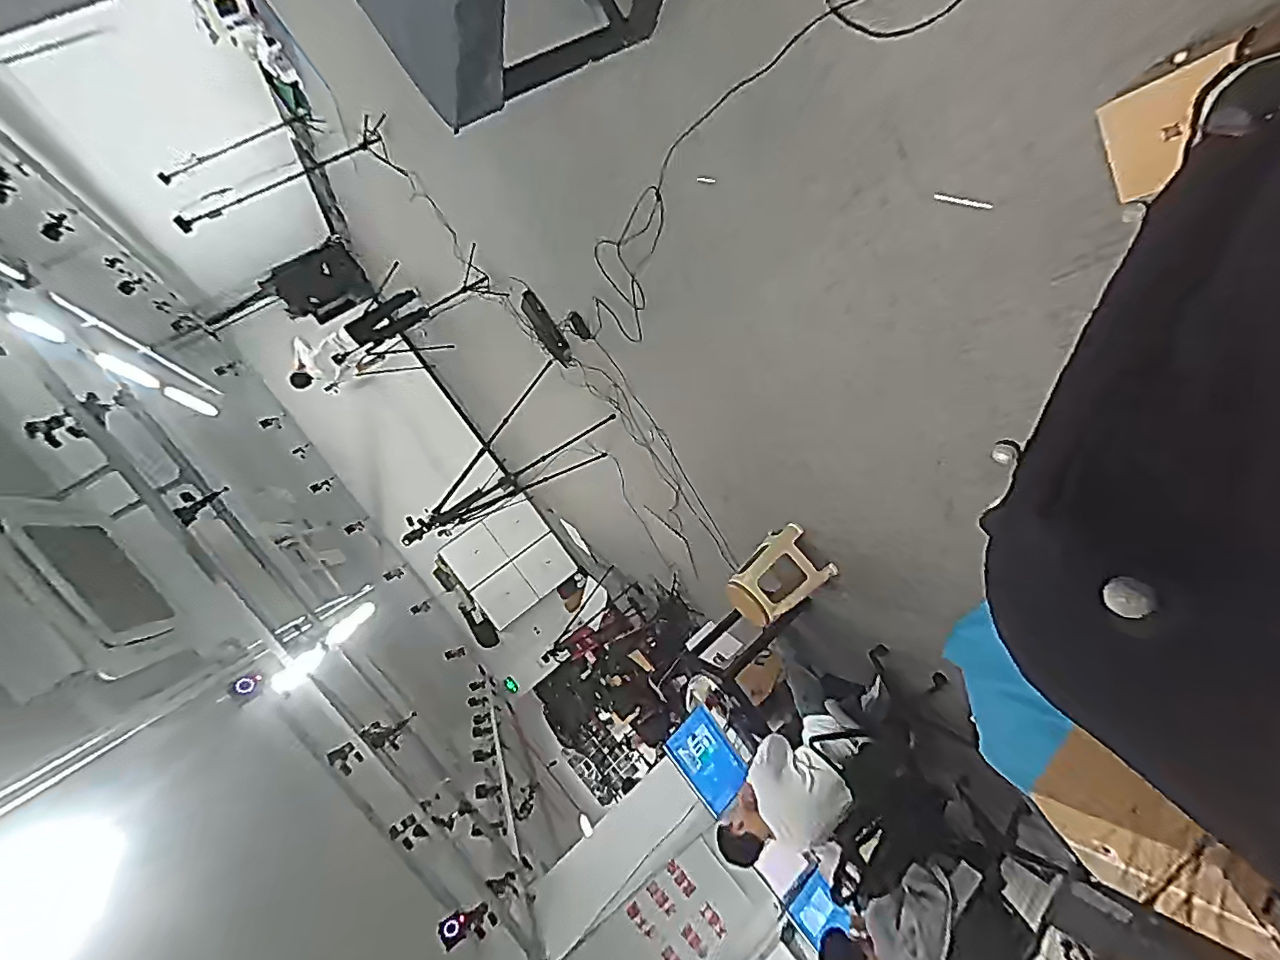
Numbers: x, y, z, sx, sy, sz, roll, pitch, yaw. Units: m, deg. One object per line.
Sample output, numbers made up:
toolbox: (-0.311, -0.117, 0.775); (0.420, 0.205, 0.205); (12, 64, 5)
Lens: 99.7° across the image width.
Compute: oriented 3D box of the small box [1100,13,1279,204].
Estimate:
small box: (0.890, -0.580, 0.857); (0.168, 0.176, 0.179); (59, 160, -16)
